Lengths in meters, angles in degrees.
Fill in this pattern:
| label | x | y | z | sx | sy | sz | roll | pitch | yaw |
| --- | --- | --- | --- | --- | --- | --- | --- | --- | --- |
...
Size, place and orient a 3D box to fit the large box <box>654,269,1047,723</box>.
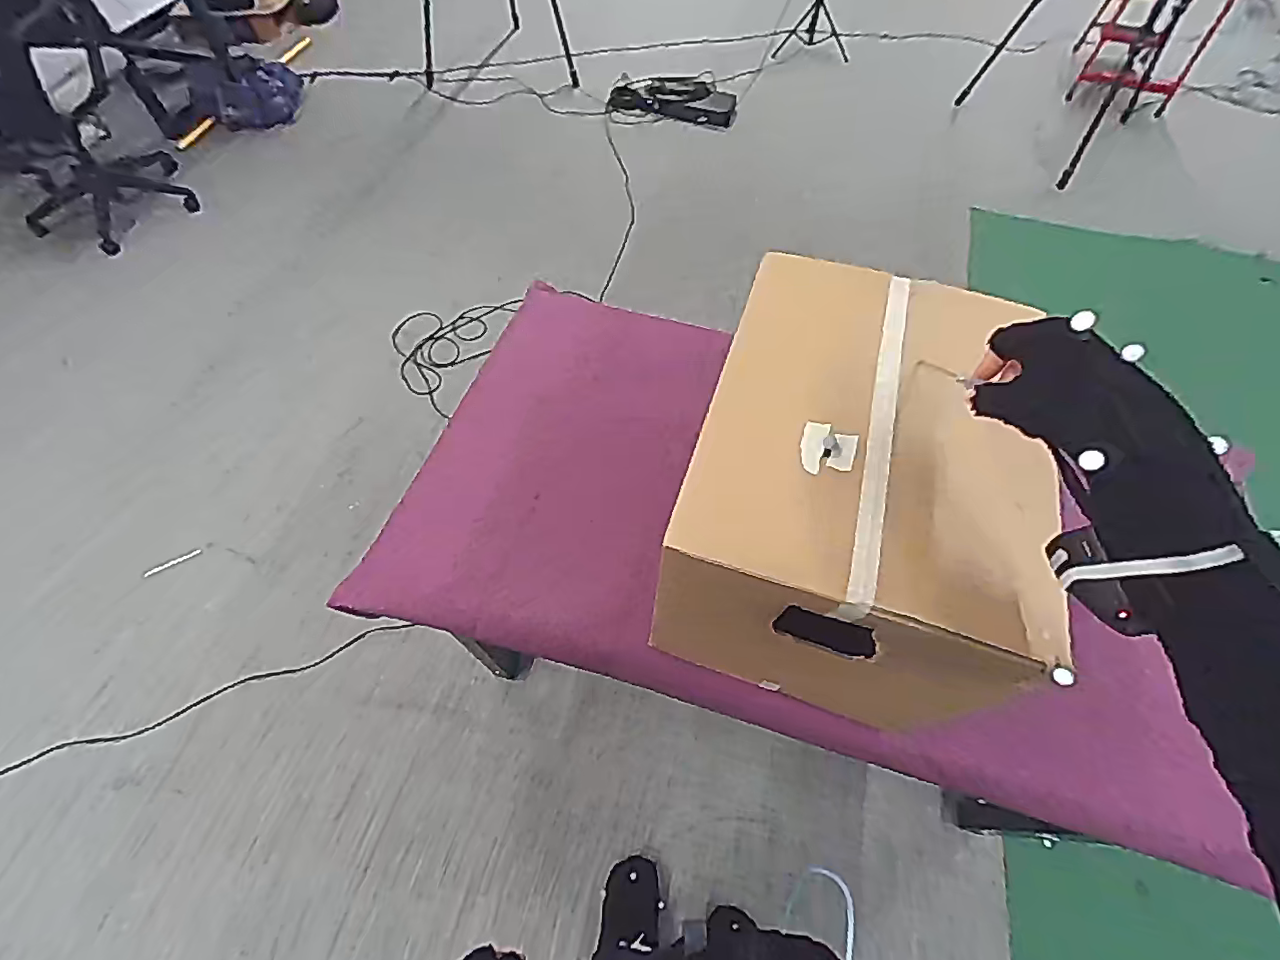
| label | x | y | z | sx | sy | sz | roll | pitch | yaw |
| --- | --- | --- | --- | --- | --- | --- | --- | --- | --- |
| large box | 0.225 | 0.024 | 0.660 | 0.320 | 0.320 | 0.408 | 17 | 60 | 9 |
